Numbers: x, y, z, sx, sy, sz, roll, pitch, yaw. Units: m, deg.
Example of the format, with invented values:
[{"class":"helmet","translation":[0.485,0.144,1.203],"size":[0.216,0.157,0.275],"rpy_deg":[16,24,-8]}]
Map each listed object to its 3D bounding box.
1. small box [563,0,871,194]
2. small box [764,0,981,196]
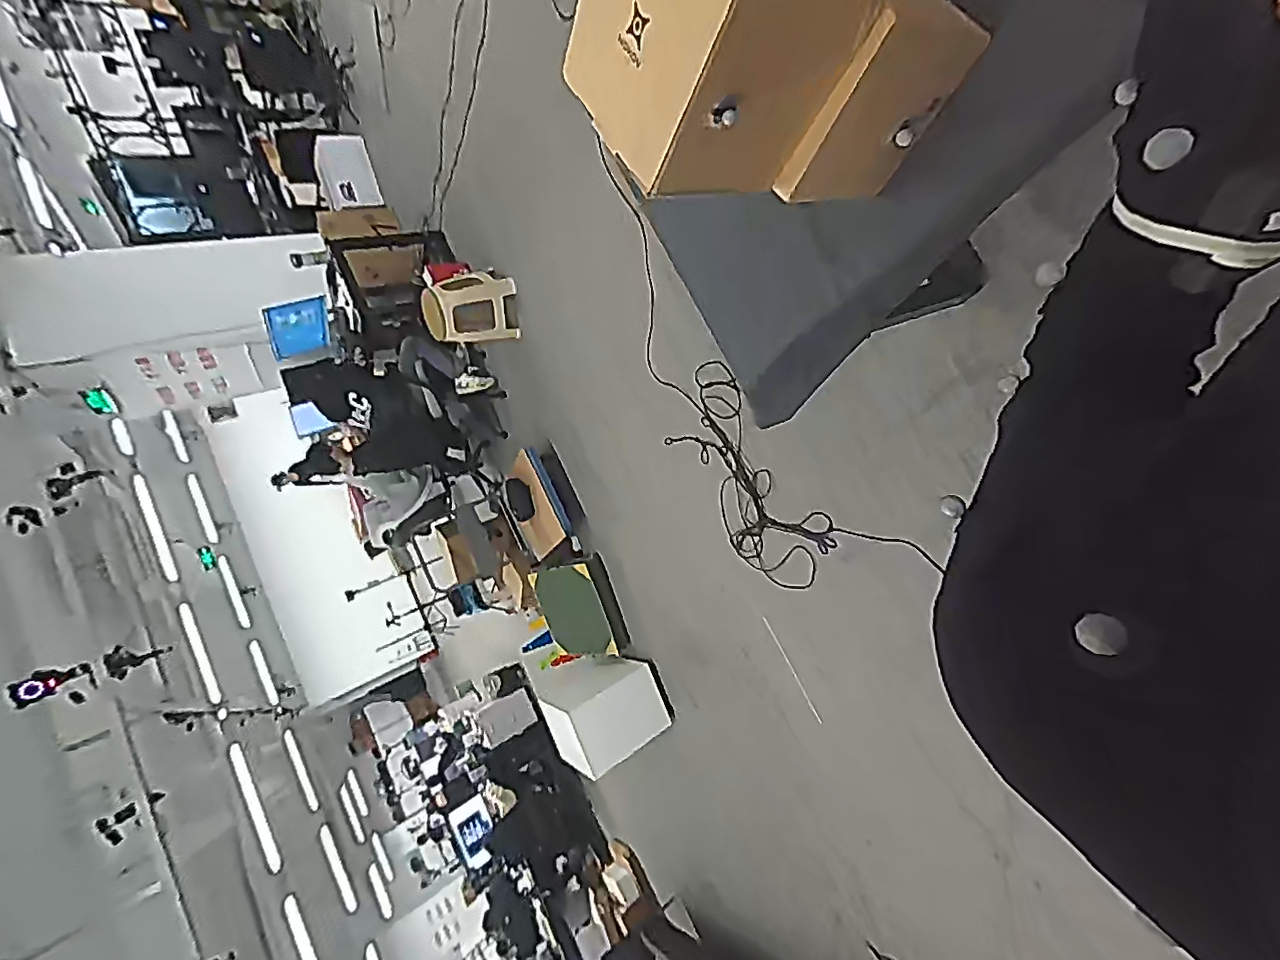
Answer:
[{"class":"small box","translation":[0.061,-0.384,0.472],"size":[0.168,0.176,0.179],"rpy_deg":[58,147,13]},{"class":"small box","translation":[0.195,-0.422,0.556],"size":[0.179,0.176,0.168],"rpy_deg":[57,147,16]}]
